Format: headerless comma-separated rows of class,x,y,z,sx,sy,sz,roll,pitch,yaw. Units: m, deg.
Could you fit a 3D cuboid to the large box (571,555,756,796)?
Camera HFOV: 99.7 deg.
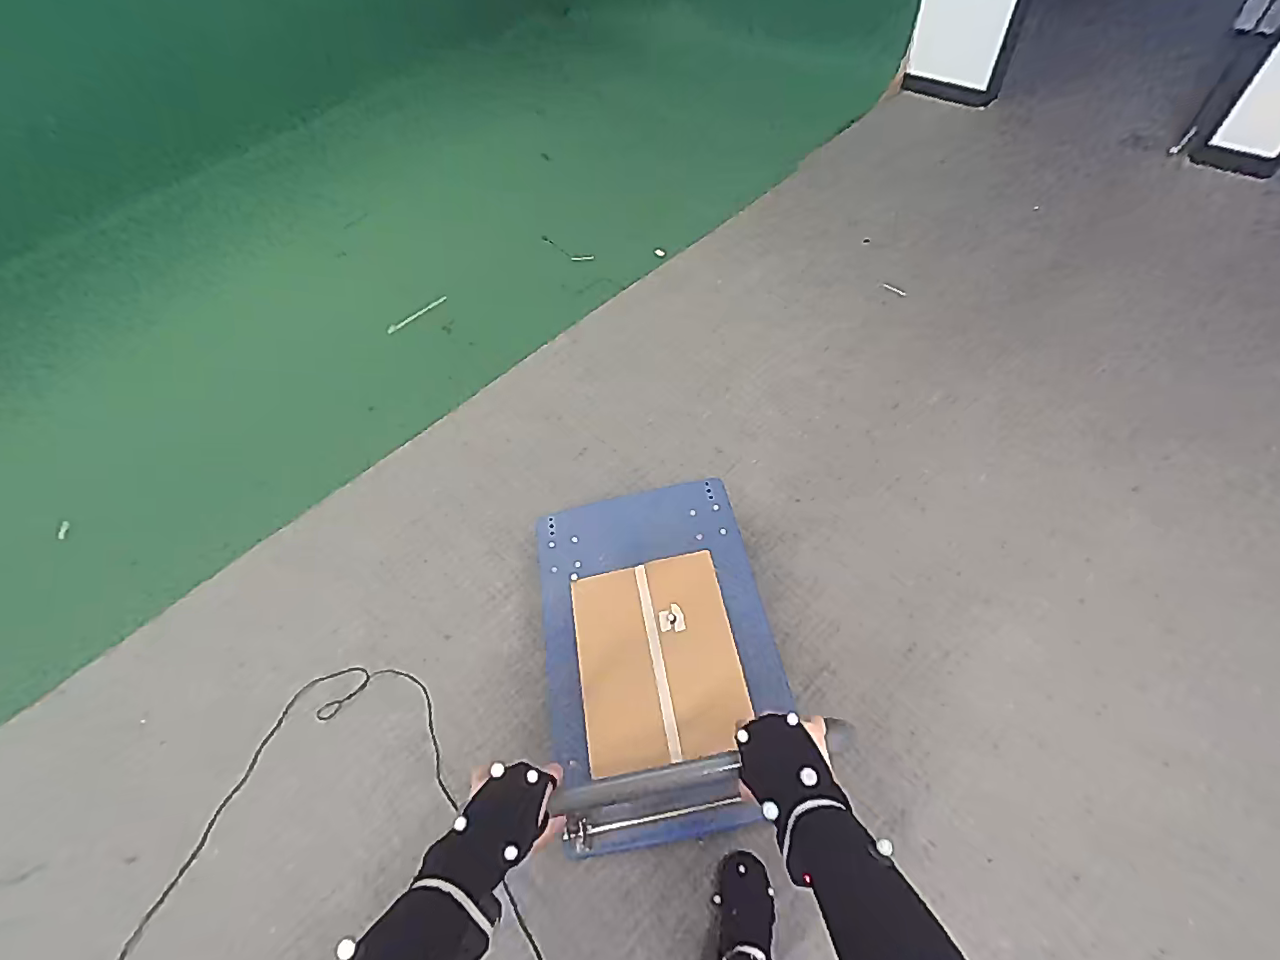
large box,0.052,0.441,1.209,0.320,0.320,0.408,-13,55,1
